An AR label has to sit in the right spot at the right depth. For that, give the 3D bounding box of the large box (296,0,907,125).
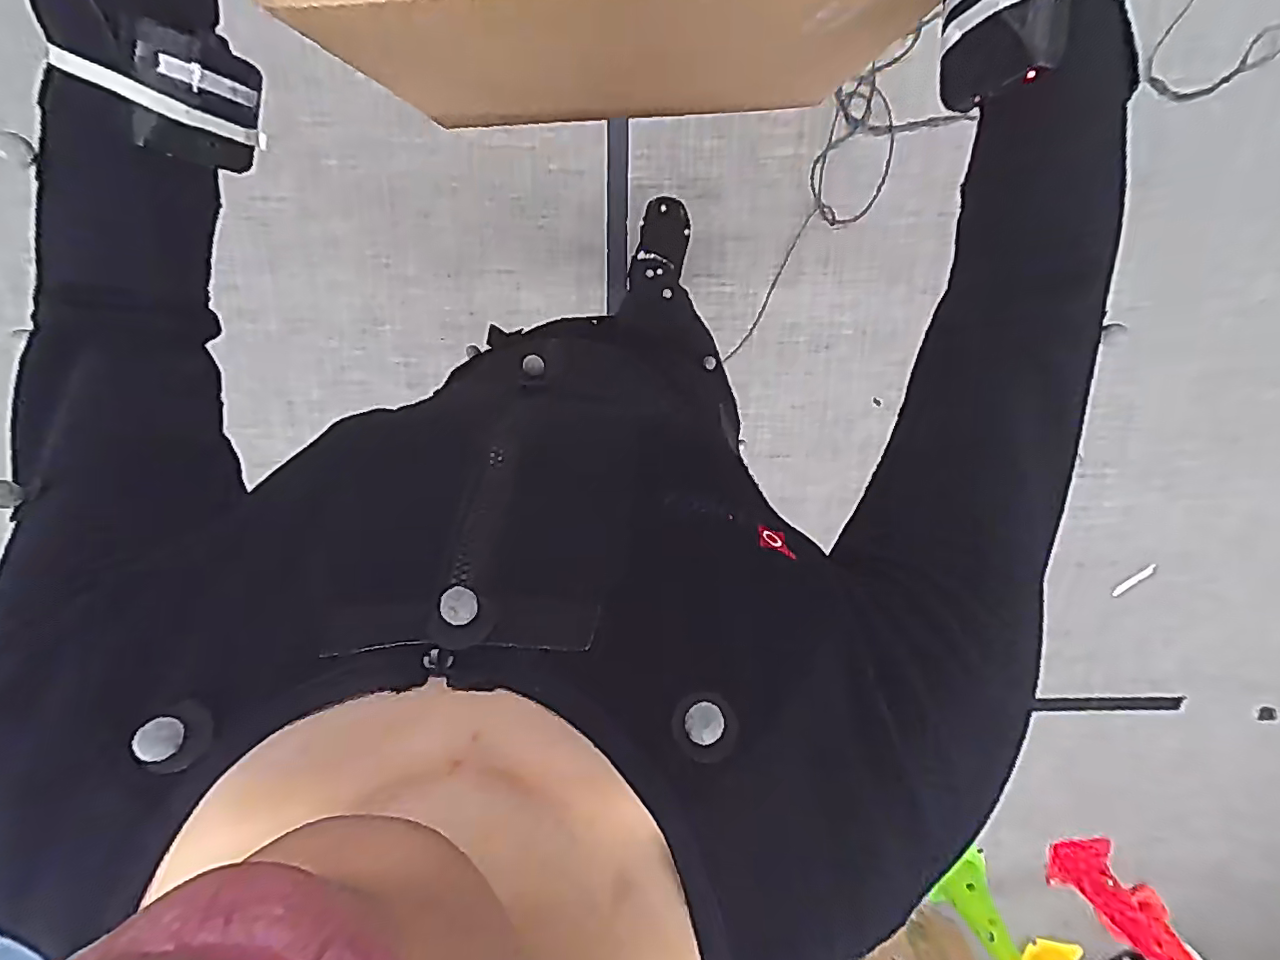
[{"bbox_3d":[-0.020,-0.479,0.380,0.408,0.320,0.320,-4,112,1],"label":"large box"}]
